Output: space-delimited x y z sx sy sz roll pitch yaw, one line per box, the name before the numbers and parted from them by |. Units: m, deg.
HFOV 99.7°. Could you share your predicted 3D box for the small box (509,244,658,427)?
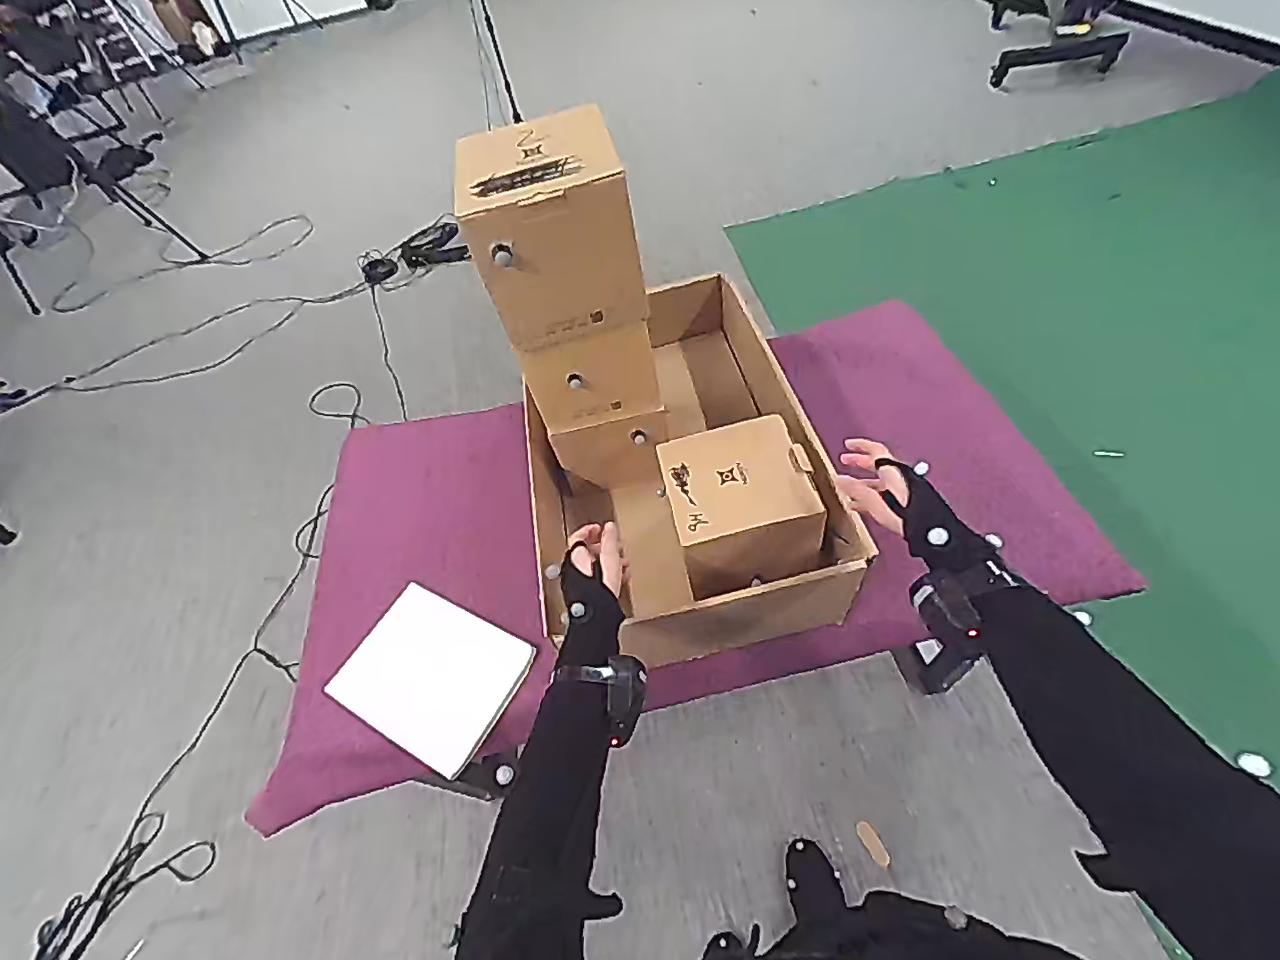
small box | -0.076 -0.193 0.759 0.168 0.176 0.179 -13 54 2
